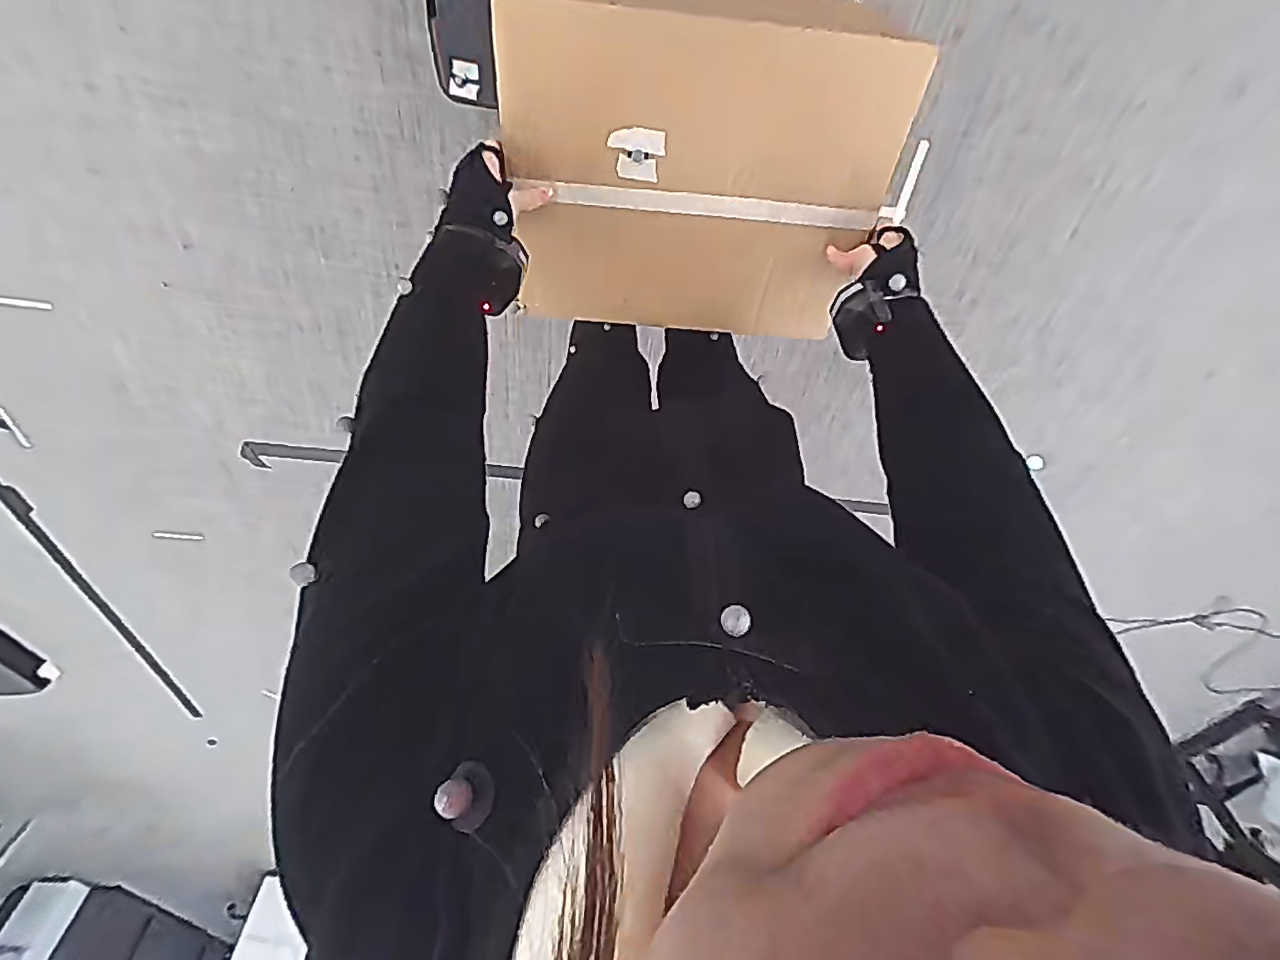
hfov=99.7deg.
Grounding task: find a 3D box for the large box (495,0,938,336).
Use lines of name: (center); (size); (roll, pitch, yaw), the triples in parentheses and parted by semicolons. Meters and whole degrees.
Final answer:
large box: (0.066, -0.412, 0.683); (0.408, 0.320, 0.320); (4, 137, -2)
